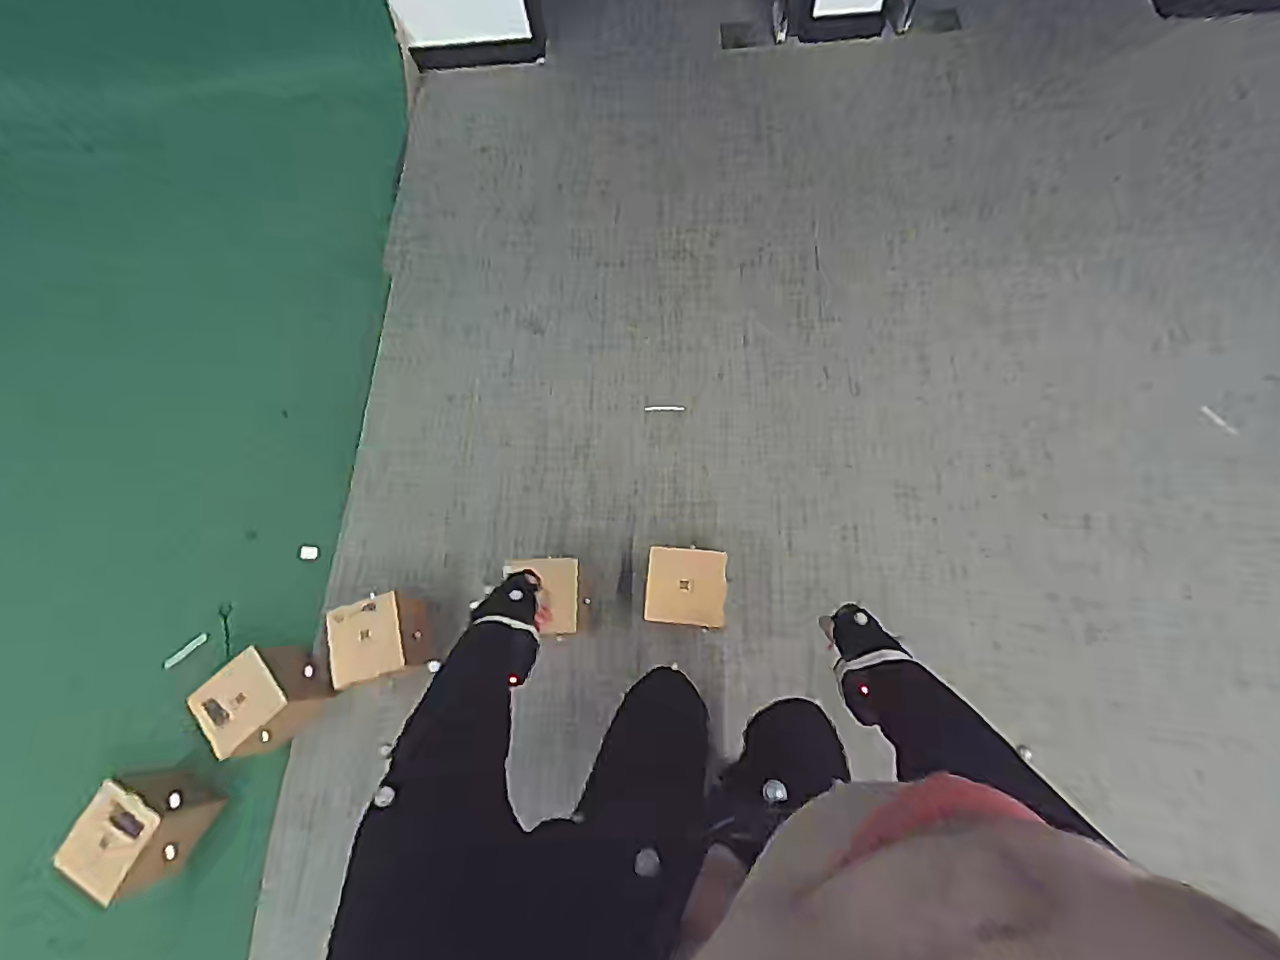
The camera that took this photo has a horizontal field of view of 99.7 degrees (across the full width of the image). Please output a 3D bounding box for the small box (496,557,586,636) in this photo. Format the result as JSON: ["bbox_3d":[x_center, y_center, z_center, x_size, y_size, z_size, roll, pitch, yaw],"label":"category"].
[{"bbox_3d":[-0.225,0.278,1.280,0.179,0.176,0.168,-1,71,4],"label":"small box"}]

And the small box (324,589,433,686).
[{"bbox_3d":[-0.612,0.372,1.281,0.168,0.176,0.179,-17,71,-1],"label":"small box"}]

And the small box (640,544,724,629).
[{"bbox_3d":[0.100,0.255,1.266,0.179,0.176,0.168,4,72,5],"label":"small box"}]

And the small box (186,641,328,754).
[{"bbox_3d":[-0.881,0.501,1.258,0.179,0.176,0.168,-42,73,-10],"label":"small box"}]
